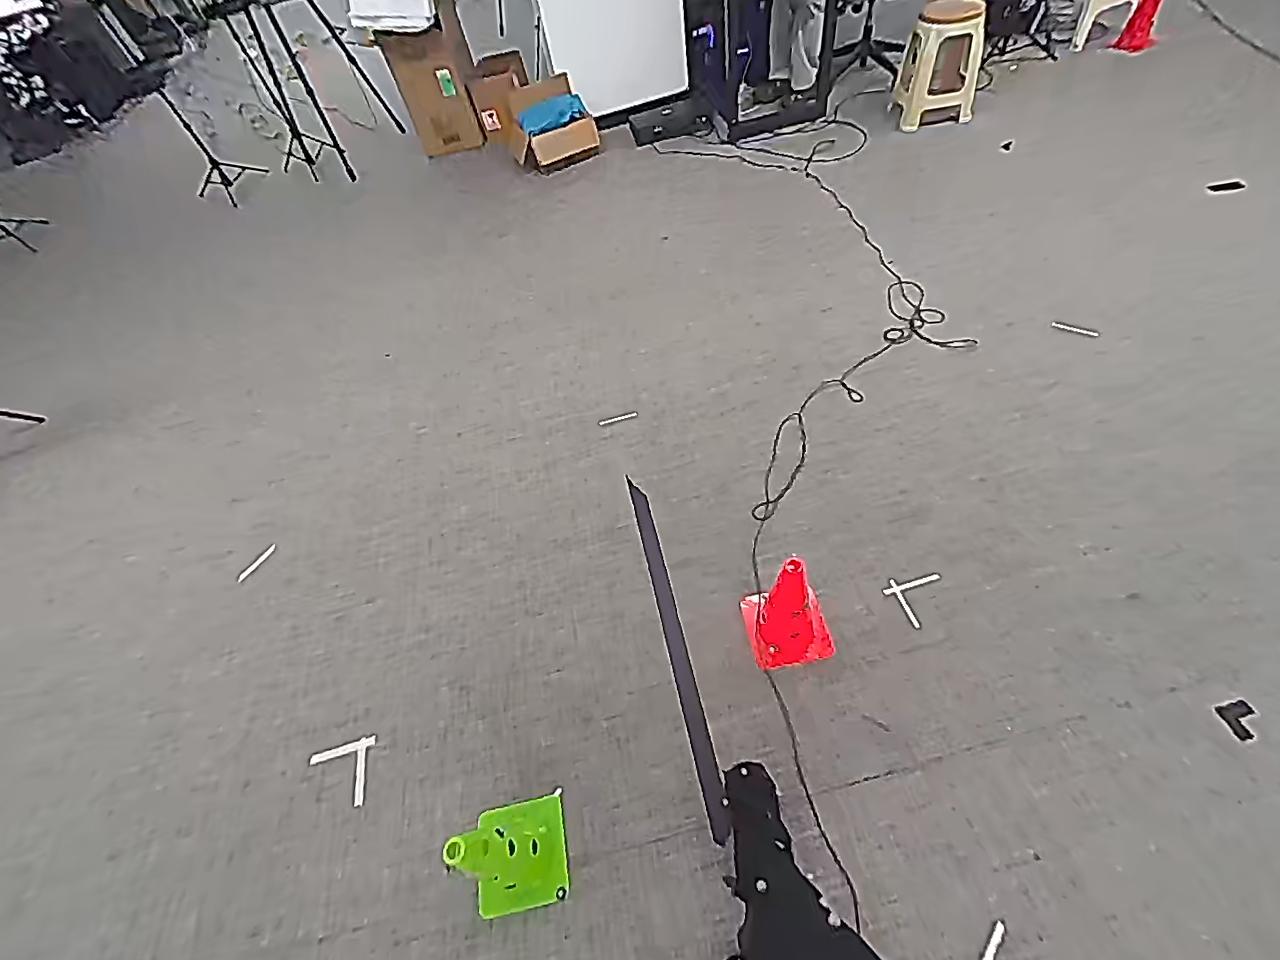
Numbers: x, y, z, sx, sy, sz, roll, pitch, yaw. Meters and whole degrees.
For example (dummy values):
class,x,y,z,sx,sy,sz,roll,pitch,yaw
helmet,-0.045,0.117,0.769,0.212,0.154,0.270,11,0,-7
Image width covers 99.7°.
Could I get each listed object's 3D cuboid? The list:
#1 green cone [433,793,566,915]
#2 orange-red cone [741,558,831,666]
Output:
class,x,y,z,sx,sy,sz,roll,pitch,yaw
green cone,-0.299,0.725,1.066,0.202,0.368,0.200,-16,52,1
orange-red cone,0.351,0.279,1.270,0.199,0.360,0.198,-10,54,2
